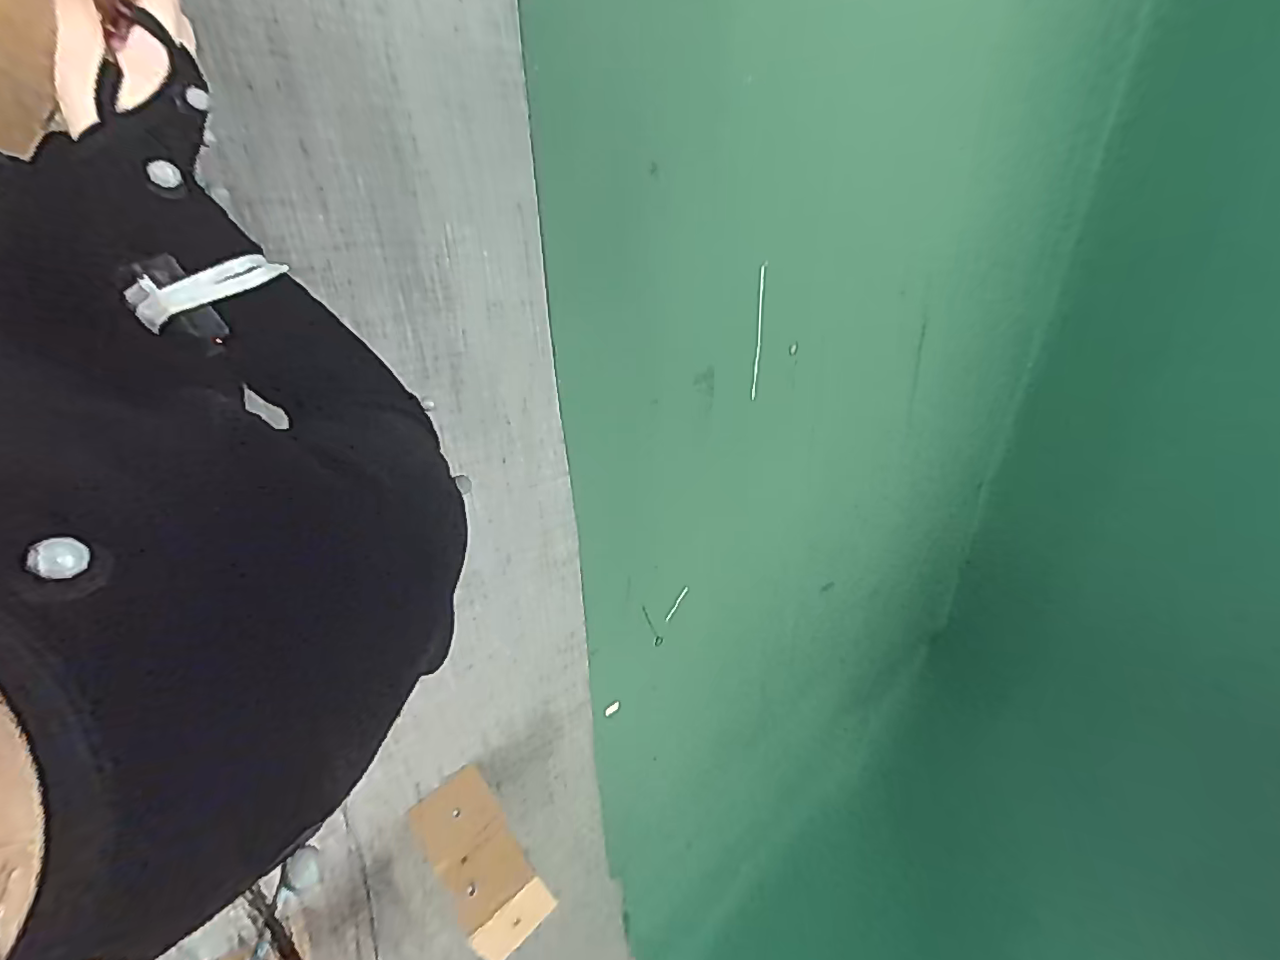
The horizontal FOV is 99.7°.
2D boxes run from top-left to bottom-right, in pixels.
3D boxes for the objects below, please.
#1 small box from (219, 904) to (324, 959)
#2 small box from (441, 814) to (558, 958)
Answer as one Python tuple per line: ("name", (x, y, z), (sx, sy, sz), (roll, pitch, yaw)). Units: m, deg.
("small box", (-0.746, 1.034, 1.100), (0.179, 0.176, 0.168), (-16, 122, -37))
("small box", (-0.311, 0.884, 1.193), (0.168, 0.176, 0.179), (-32, 131, -27))
